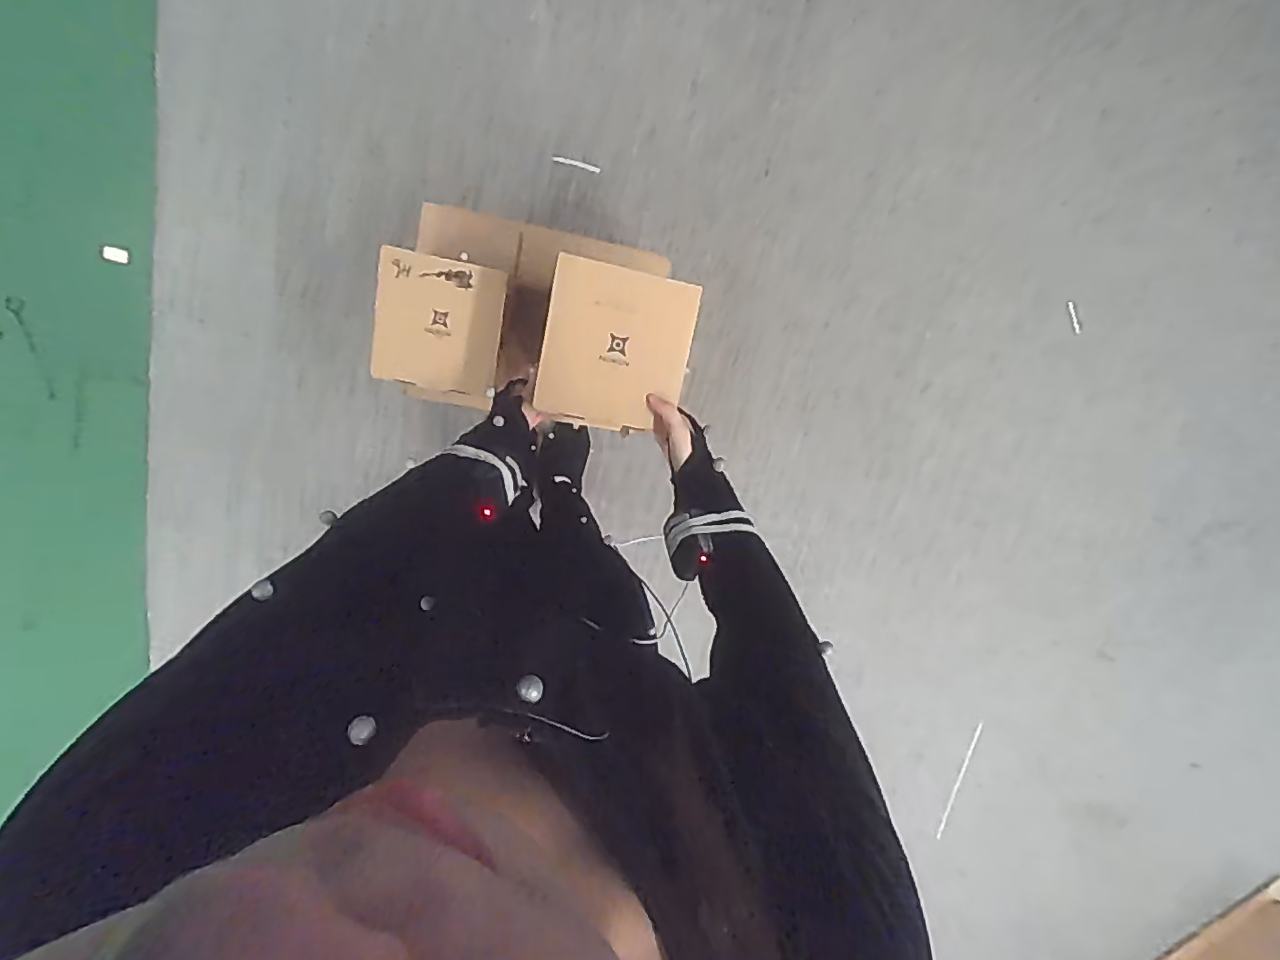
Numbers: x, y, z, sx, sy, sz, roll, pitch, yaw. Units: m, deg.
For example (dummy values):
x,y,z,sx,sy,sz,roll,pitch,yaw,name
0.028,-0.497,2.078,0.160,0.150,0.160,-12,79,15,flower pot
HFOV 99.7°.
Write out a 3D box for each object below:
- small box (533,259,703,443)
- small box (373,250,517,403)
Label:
x,y,z,sx,sy,sz,roll,pitch,yaw,name
-0.034,-0.156,0.687,0.168,0.176,0.179,11,99,-10,small box
-0.282,-0.227,0.812,0.168,0.176,0.179,10,105,-11,small box
